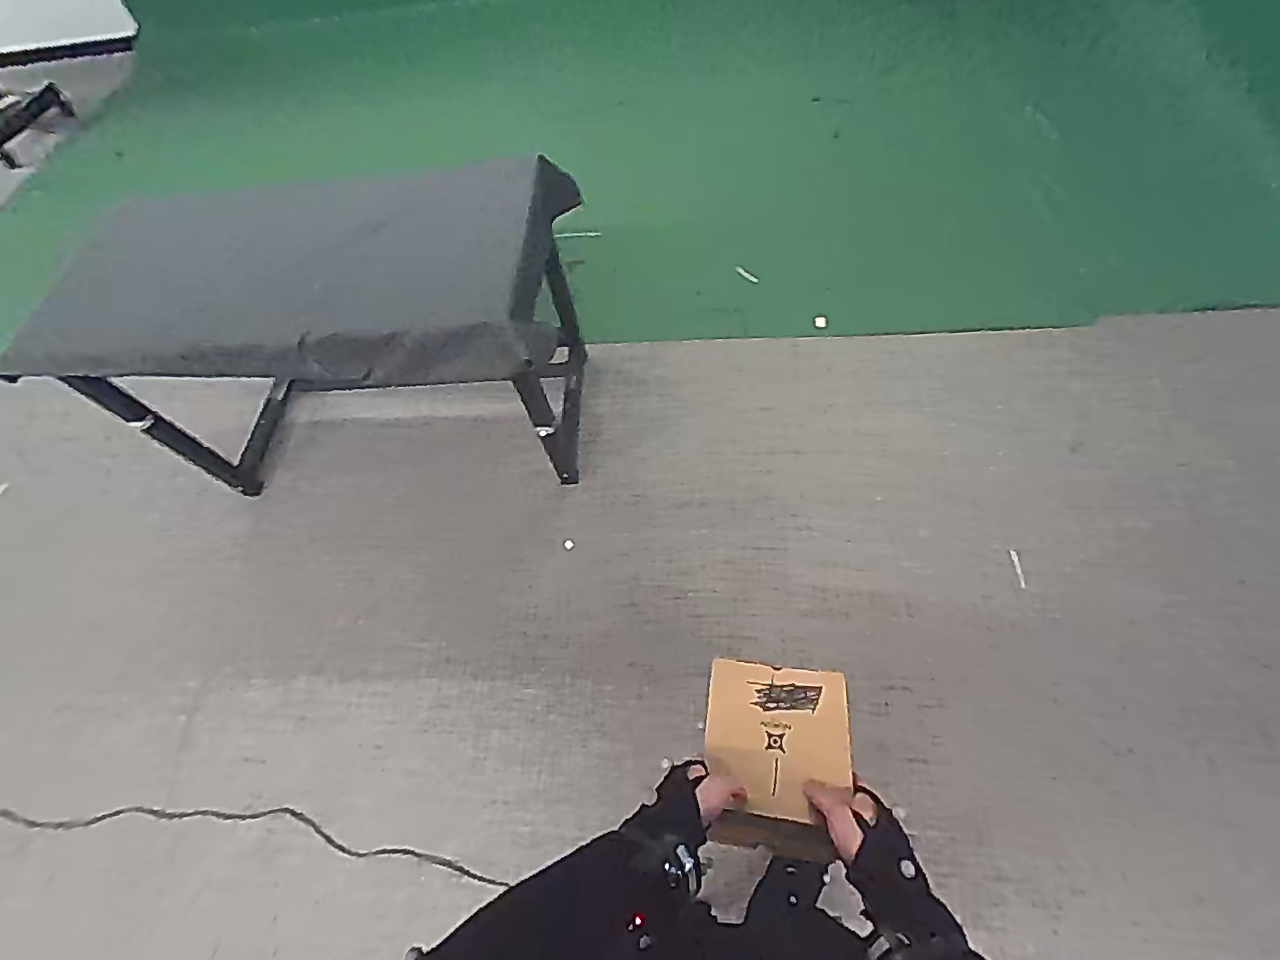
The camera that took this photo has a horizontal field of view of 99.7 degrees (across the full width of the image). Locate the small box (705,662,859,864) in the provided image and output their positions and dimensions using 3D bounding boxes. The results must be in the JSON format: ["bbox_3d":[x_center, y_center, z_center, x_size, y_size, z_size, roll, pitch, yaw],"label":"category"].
[{"bbox_3d":[0.172,0.360,0.693,0.168,0.176,0.179,2,46,11],"label":"small box"}]
